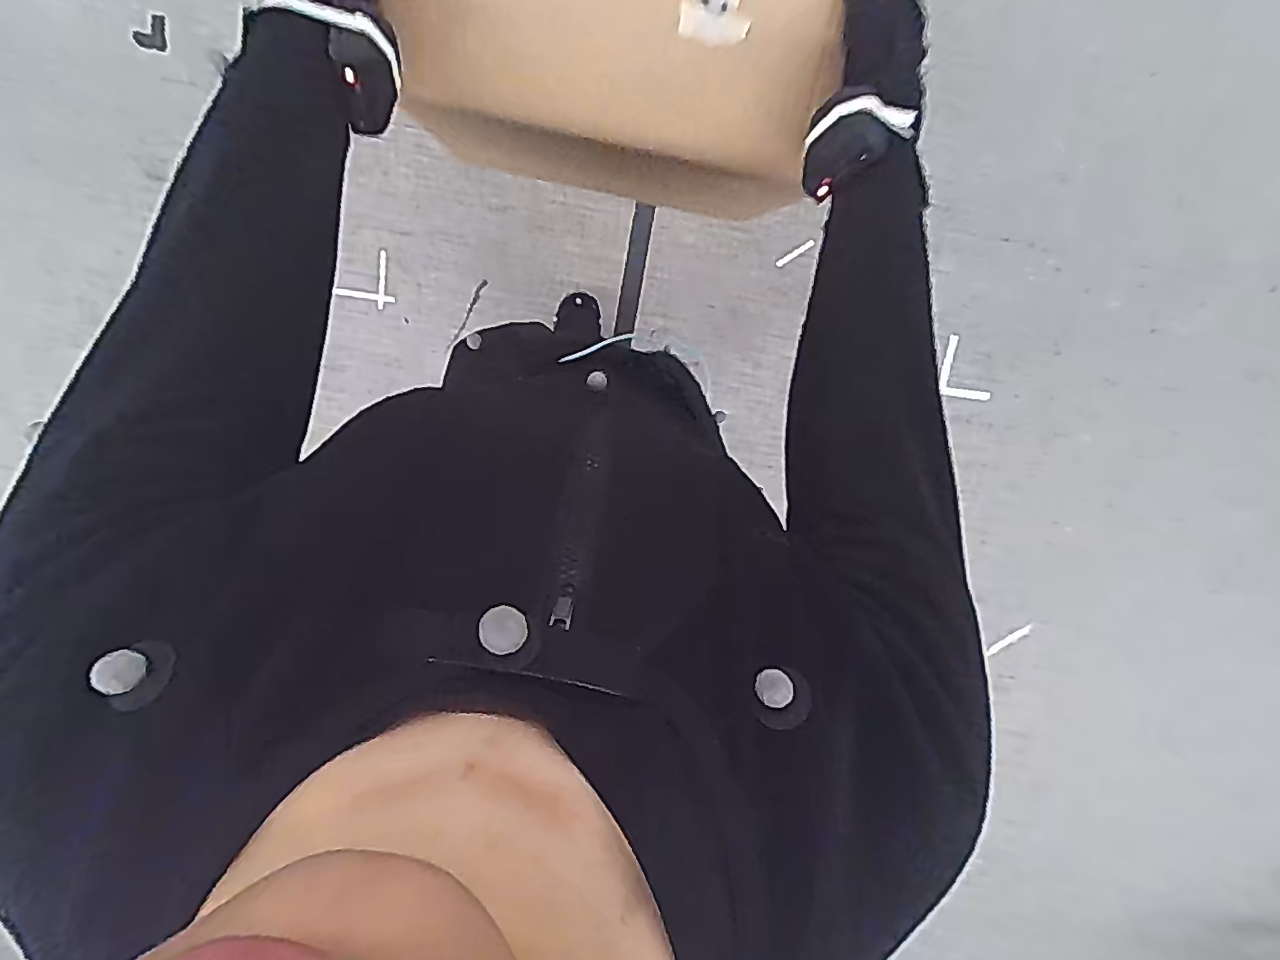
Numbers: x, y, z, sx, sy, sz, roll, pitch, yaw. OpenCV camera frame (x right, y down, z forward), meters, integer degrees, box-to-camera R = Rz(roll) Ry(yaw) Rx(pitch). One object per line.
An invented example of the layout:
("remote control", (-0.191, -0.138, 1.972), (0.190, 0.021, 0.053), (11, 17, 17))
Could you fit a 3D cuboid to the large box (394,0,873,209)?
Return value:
("large box", (-0.005, -0.505, 0.572), (0.408, 0.320, 0.320), (8, 111, -8))
